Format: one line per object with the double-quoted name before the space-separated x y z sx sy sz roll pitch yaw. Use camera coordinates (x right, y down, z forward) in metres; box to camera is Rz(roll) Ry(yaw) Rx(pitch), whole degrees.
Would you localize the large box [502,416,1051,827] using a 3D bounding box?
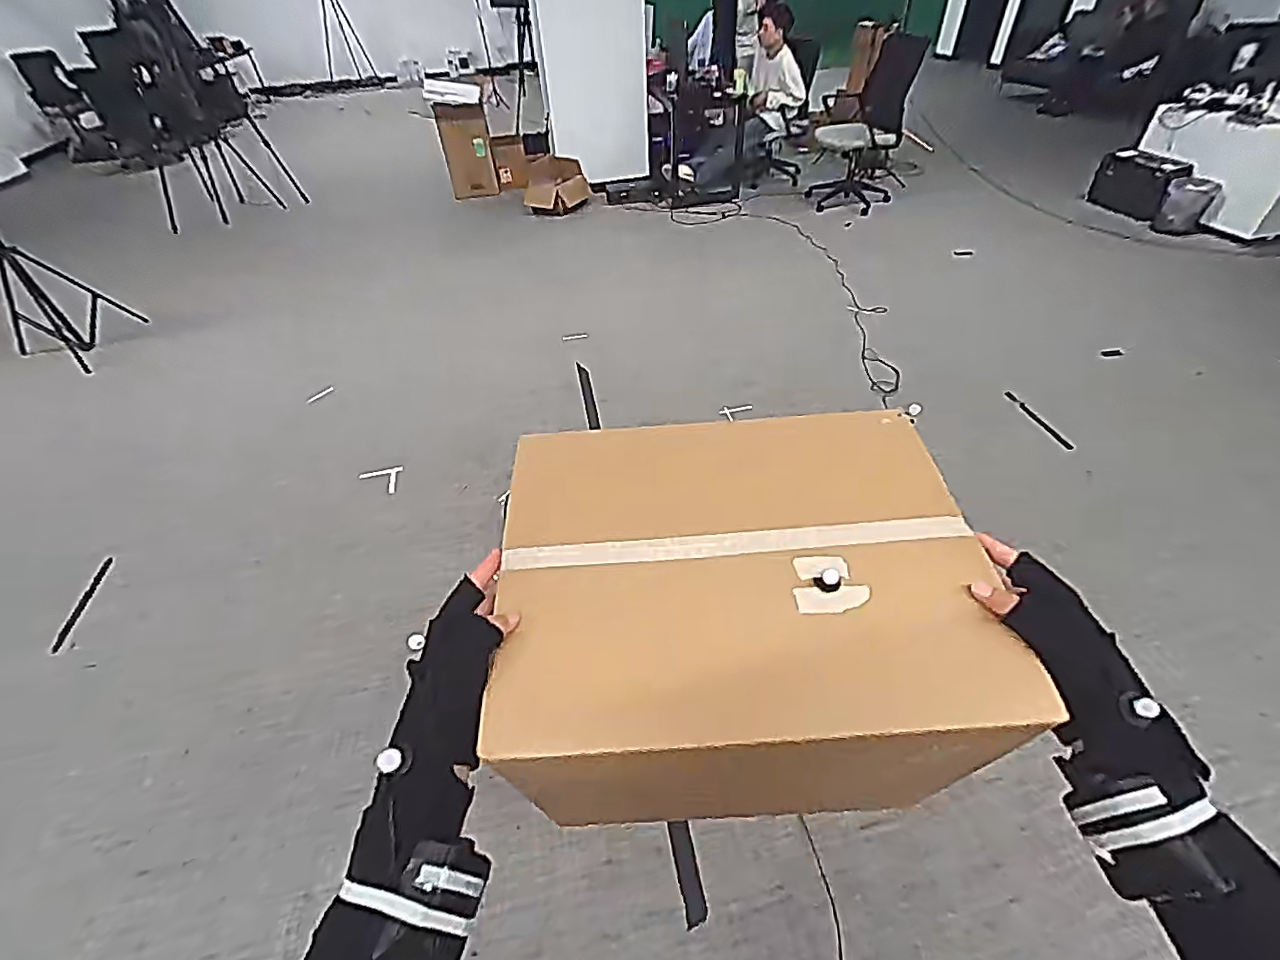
"large box" 0.093 0.159 0.589 0.408 0.320 0.320 -4 50 0
